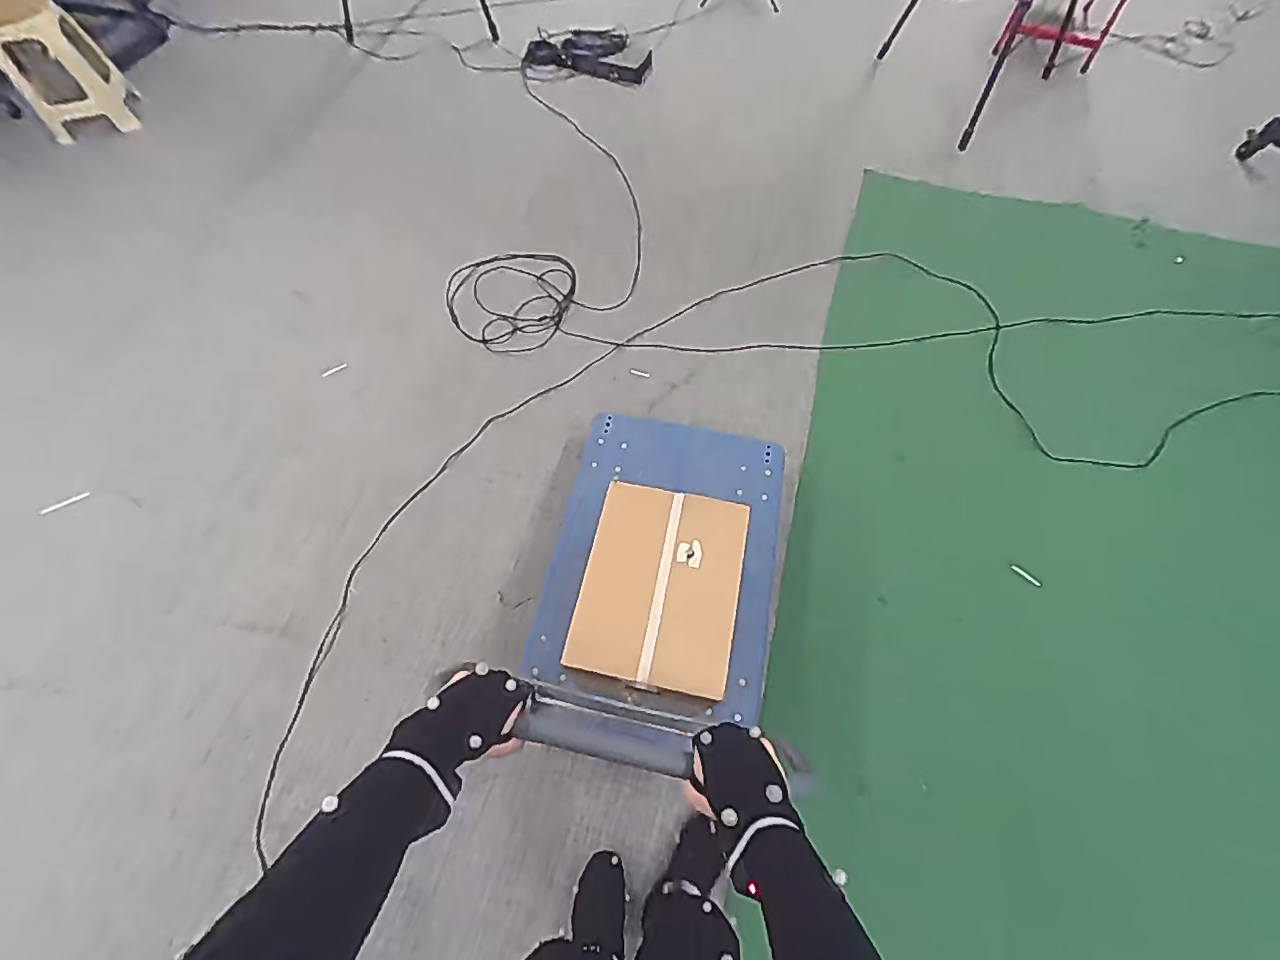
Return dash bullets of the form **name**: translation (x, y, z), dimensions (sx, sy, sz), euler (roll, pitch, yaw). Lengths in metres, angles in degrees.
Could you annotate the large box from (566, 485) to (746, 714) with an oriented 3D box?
- **large box**: translation (0.045, 0.279, 1.229), dimensions (0.320, 0.320, 0.408), euler (11, 62, 5)
